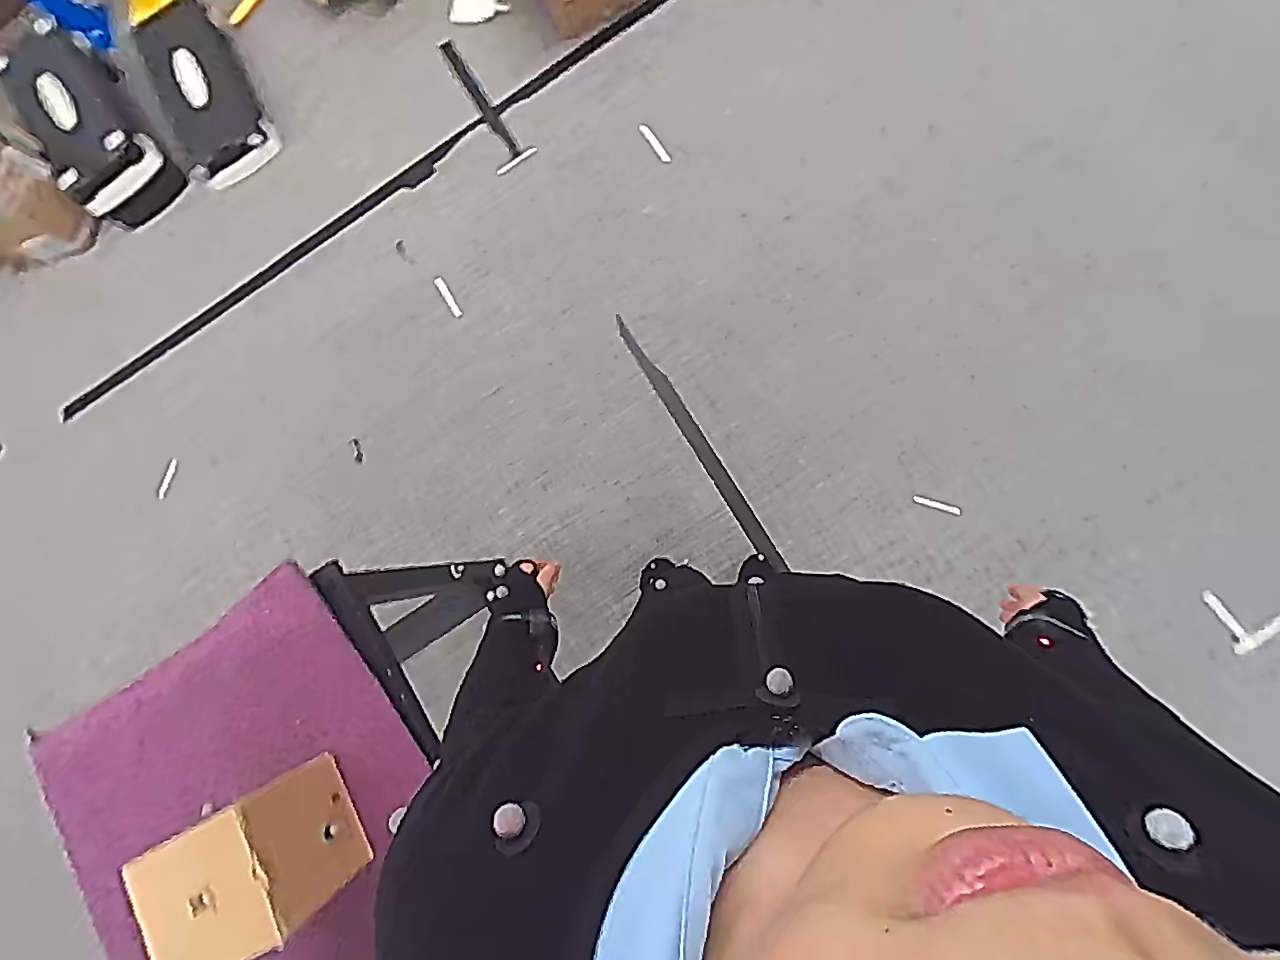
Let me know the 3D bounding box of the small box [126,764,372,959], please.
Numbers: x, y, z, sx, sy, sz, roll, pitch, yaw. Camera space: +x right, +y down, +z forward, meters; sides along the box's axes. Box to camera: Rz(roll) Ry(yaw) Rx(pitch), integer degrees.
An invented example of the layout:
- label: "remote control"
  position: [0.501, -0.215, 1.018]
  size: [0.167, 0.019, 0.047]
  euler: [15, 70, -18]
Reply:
- label: "small box"
  position: [-0.504, 0.520, 0.718]
  size: [0.179, 0.176, 0.168]
  euler: [-31, 80, 4]
